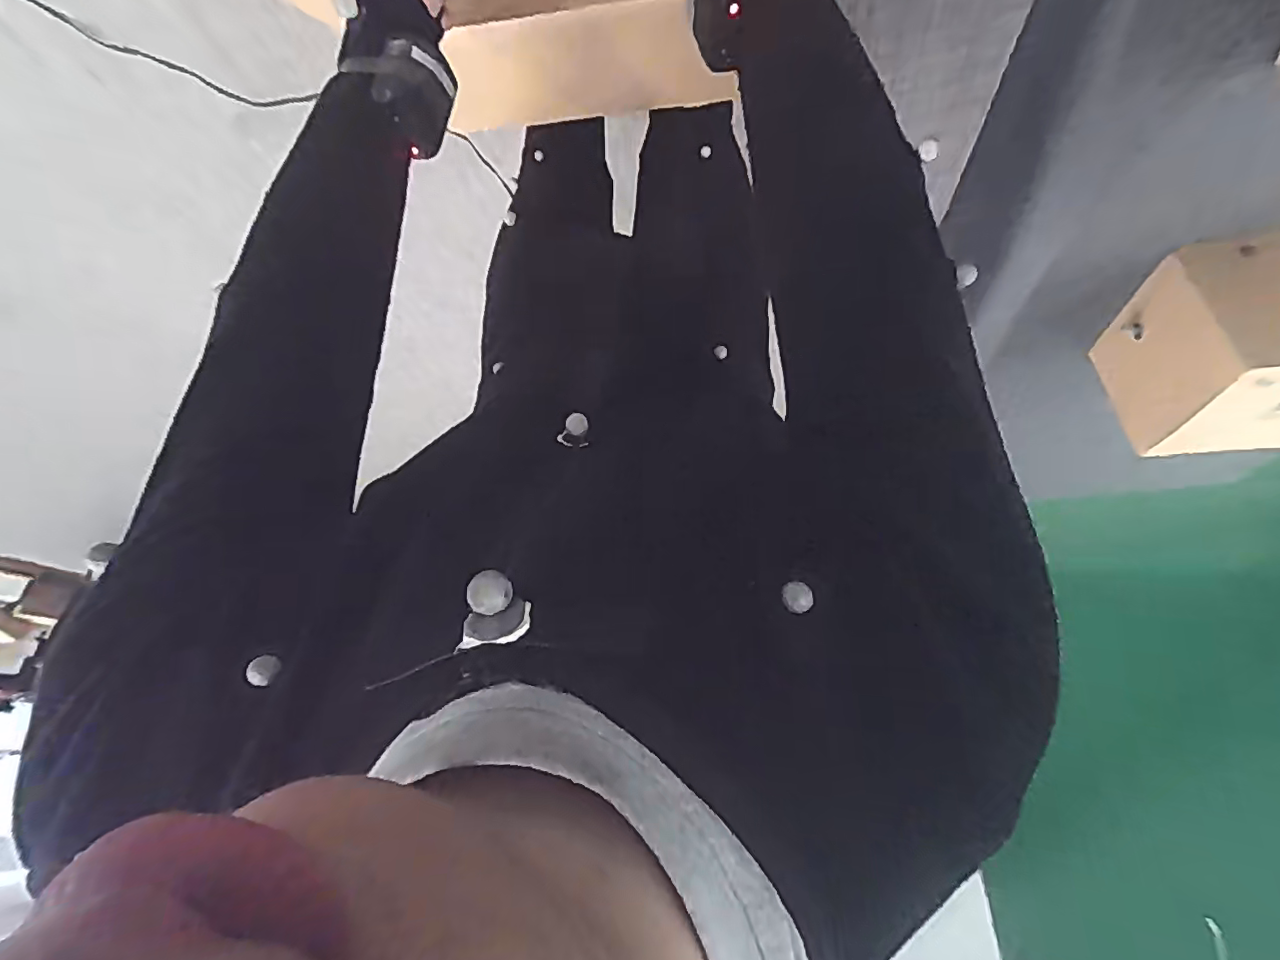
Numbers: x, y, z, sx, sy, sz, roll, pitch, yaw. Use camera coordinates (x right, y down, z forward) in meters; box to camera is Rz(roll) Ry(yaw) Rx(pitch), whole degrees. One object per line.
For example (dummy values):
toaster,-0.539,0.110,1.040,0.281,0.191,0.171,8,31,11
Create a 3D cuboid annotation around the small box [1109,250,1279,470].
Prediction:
small box,0.671,-0.128,0.598,0.168,0.176,0.179,-5,152,11
